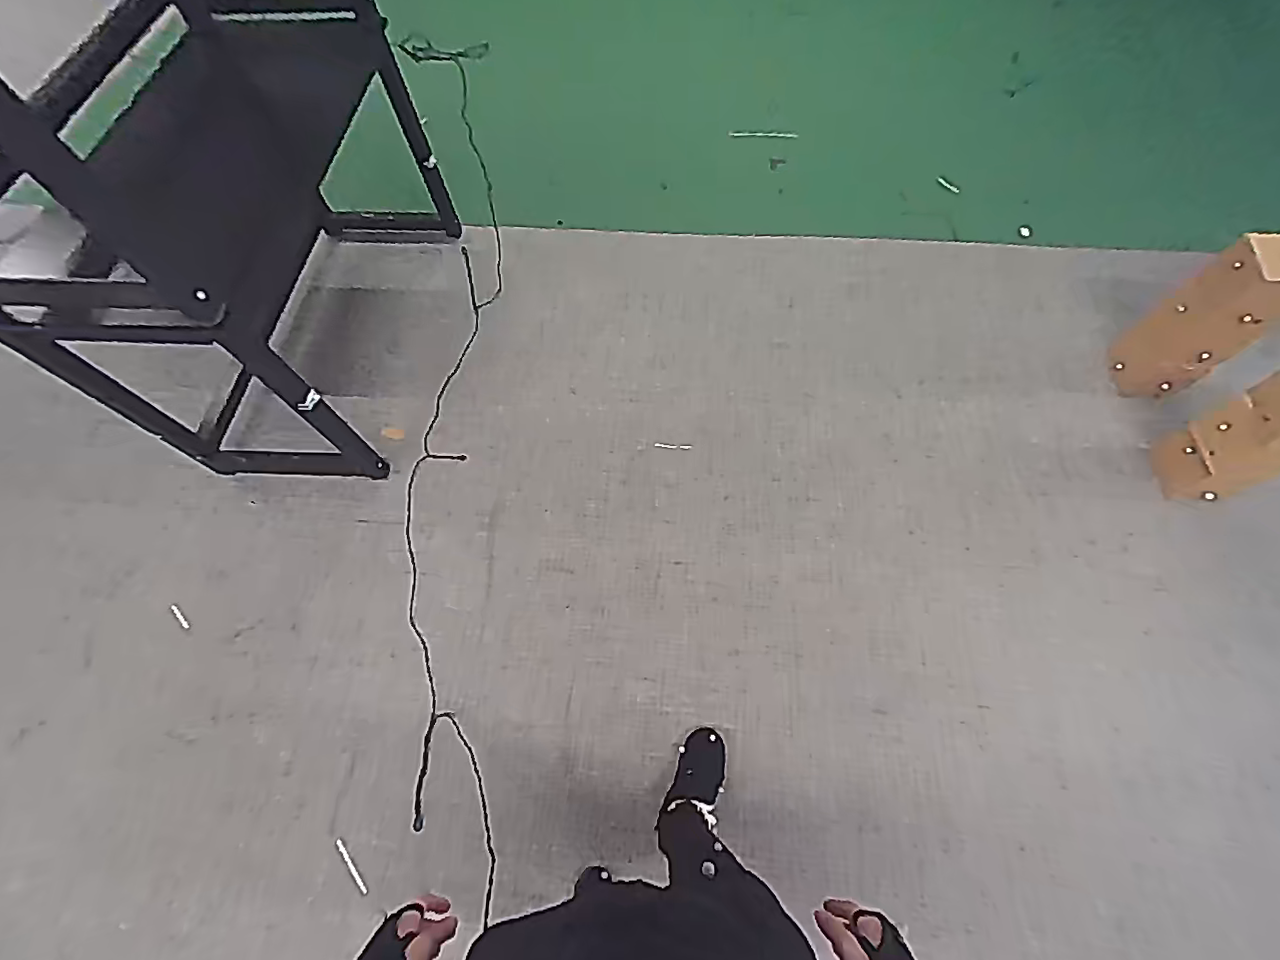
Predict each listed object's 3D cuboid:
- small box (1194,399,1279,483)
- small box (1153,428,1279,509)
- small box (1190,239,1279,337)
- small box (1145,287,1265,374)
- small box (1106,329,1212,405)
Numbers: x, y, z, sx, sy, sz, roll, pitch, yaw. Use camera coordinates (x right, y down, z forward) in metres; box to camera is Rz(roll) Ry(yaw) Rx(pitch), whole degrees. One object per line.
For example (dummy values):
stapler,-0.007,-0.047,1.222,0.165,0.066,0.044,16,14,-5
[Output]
small box,1.657,-0.101,1.447,0.179,0.176,0.168,2,63,3
small box,1.680,-0.032,1.592,0.168,0.176,0.179,5,64,5
small box,1.671,-0.521,1.474,0.168,0.176,0.179,9,64,8
small box,1.676,-0.446,1.619,0.168,0.176,0.179,7,64,6
small box,1.681,-0.365,1.763,0.168,0.176,0.179,6,64,6
